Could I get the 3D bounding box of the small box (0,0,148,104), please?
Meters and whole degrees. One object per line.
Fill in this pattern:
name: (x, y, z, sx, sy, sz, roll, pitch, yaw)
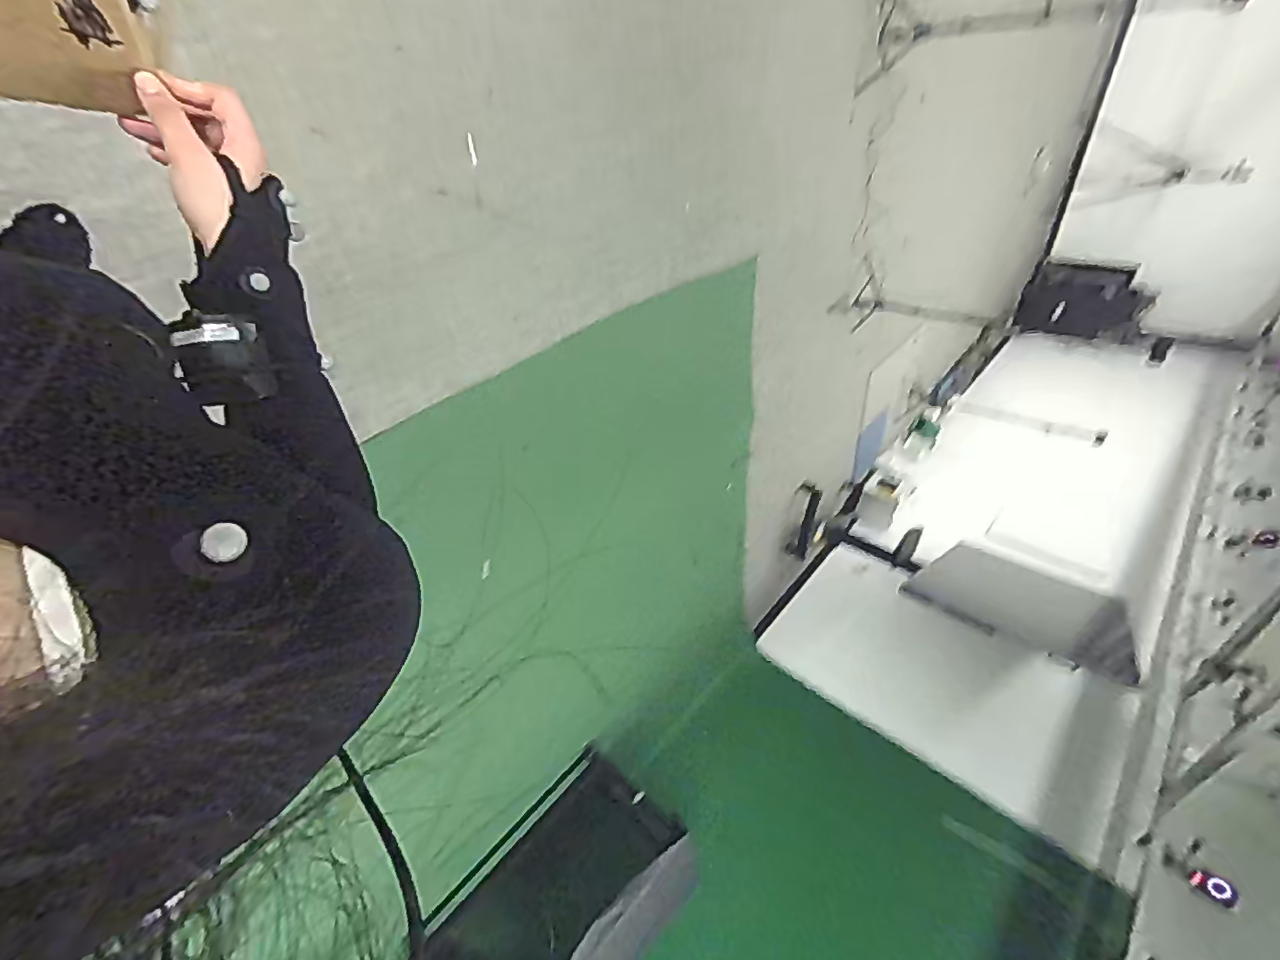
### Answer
small box: (-0.413, -0.358, 0.299, 0.179, 0.176, 0.168, -7, 159, -24)
